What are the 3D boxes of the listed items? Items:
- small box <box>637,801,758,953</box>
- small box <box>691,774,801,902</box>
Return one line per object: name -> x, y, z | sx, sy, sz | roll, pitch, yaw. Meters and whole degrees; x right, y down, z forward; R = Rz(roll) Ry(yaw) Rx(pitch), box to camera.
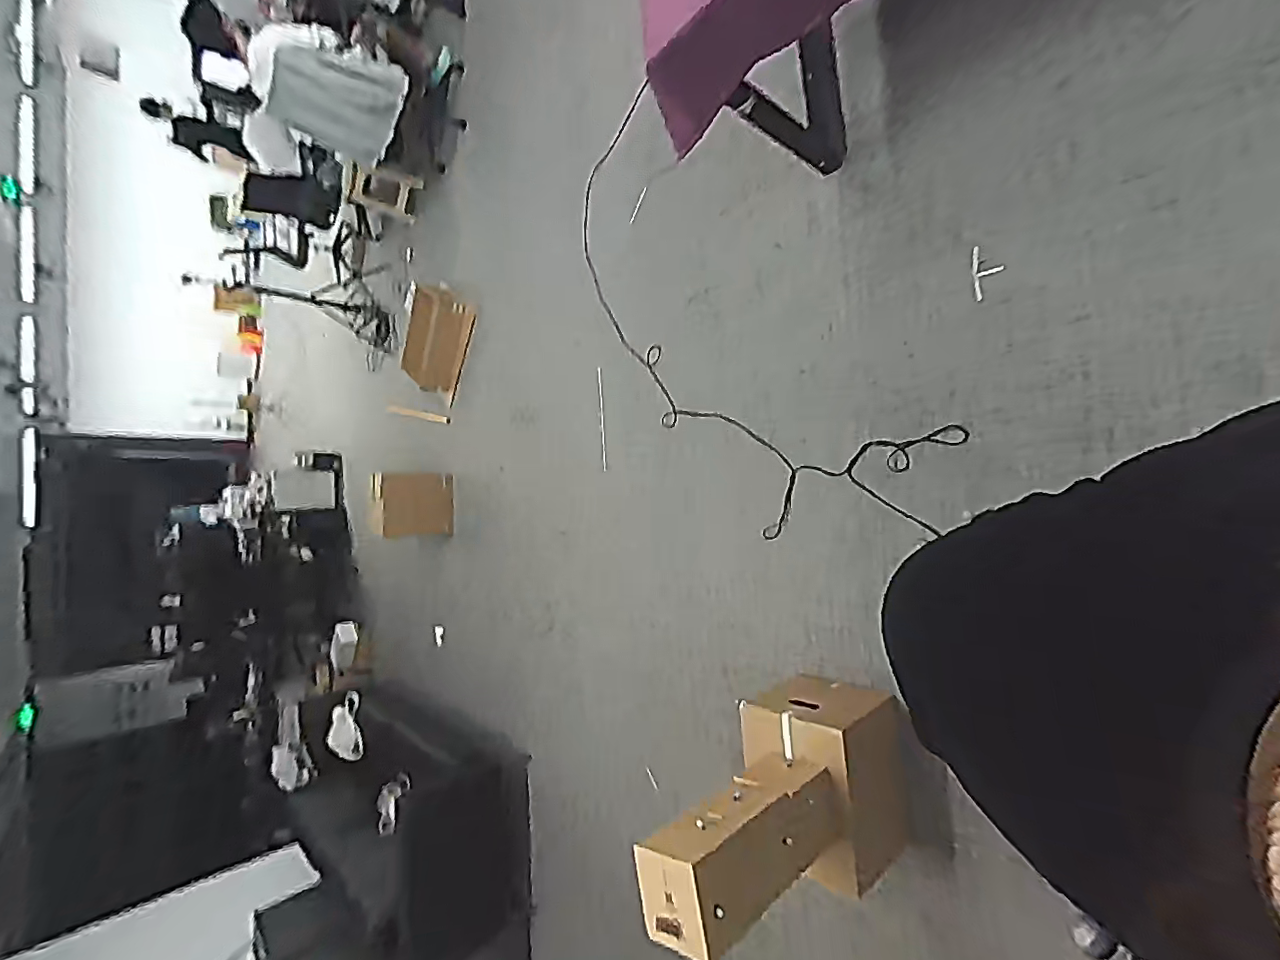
small box -> 0.122, 0.799, 1.111 | 0.168, 0.176, 0.179 | -19, 77, 44
small box -> 0.241, 0.795, 1.226 | 0.168, 0.176, 0.179 | -18, 77, 45
